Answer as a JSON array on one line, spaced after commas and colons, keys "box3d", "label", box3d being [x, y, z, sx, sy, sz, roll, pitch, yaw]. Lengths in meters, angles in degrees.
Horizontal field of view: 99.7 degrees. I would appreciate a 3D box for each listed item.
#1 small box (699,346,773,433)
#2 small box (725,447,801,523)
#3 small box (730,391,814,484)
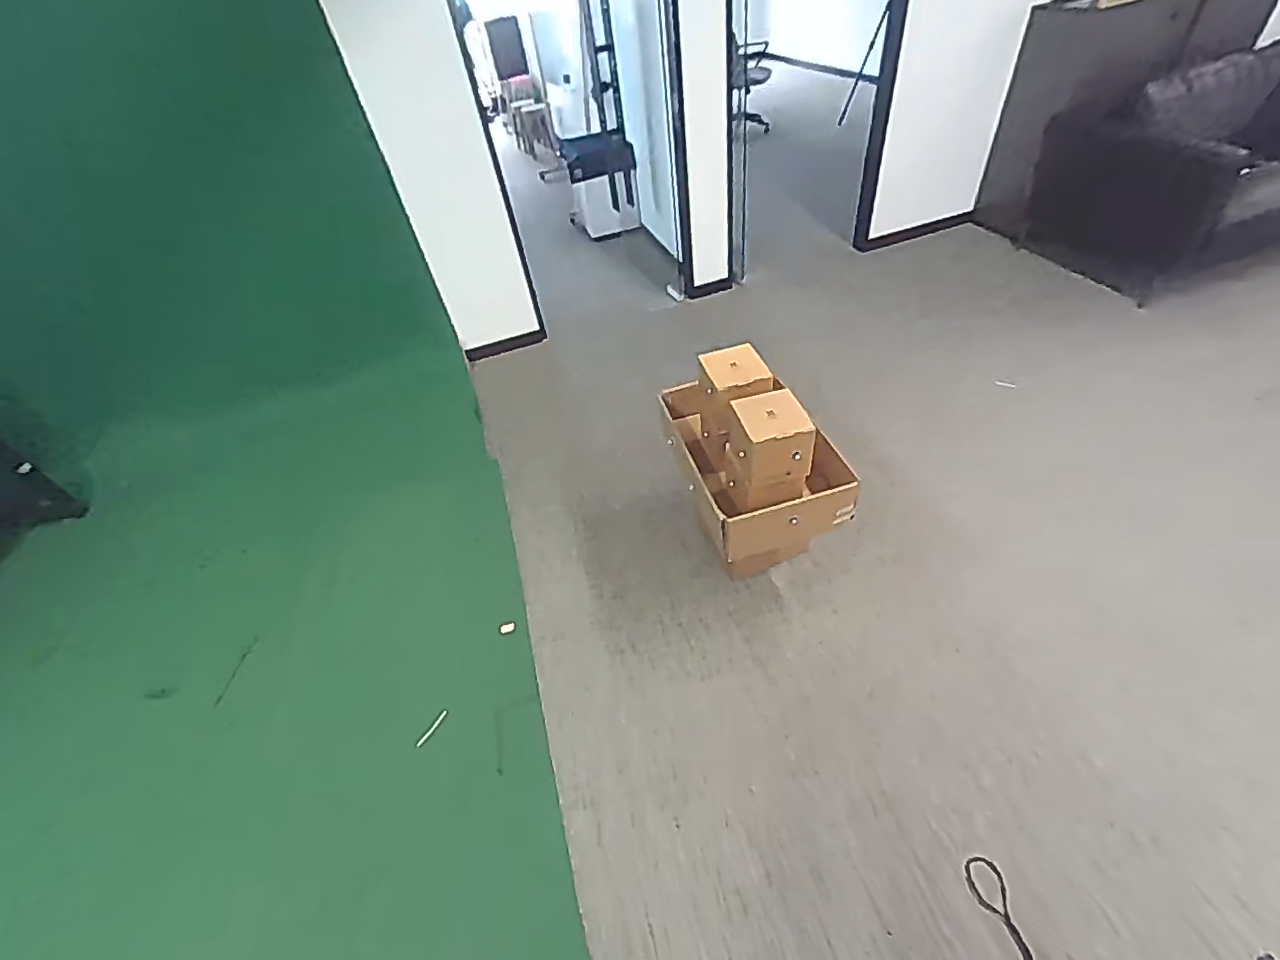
[{"box3d": [0.277, -0.266, 1.601, 0.168, 0.176, 0.179, -14, 47, -6], "label": "small box"}, {"box3d": [0.350, 0.004, 1.548, 0.168, 0.176, 0.179, -14, 44, -5], "label": "small box"}, {"box3d": [0.342, -0.106, 1.428, 0.168, 0.176, 0.179, -12, 44, -4], "label": "small box"}]
